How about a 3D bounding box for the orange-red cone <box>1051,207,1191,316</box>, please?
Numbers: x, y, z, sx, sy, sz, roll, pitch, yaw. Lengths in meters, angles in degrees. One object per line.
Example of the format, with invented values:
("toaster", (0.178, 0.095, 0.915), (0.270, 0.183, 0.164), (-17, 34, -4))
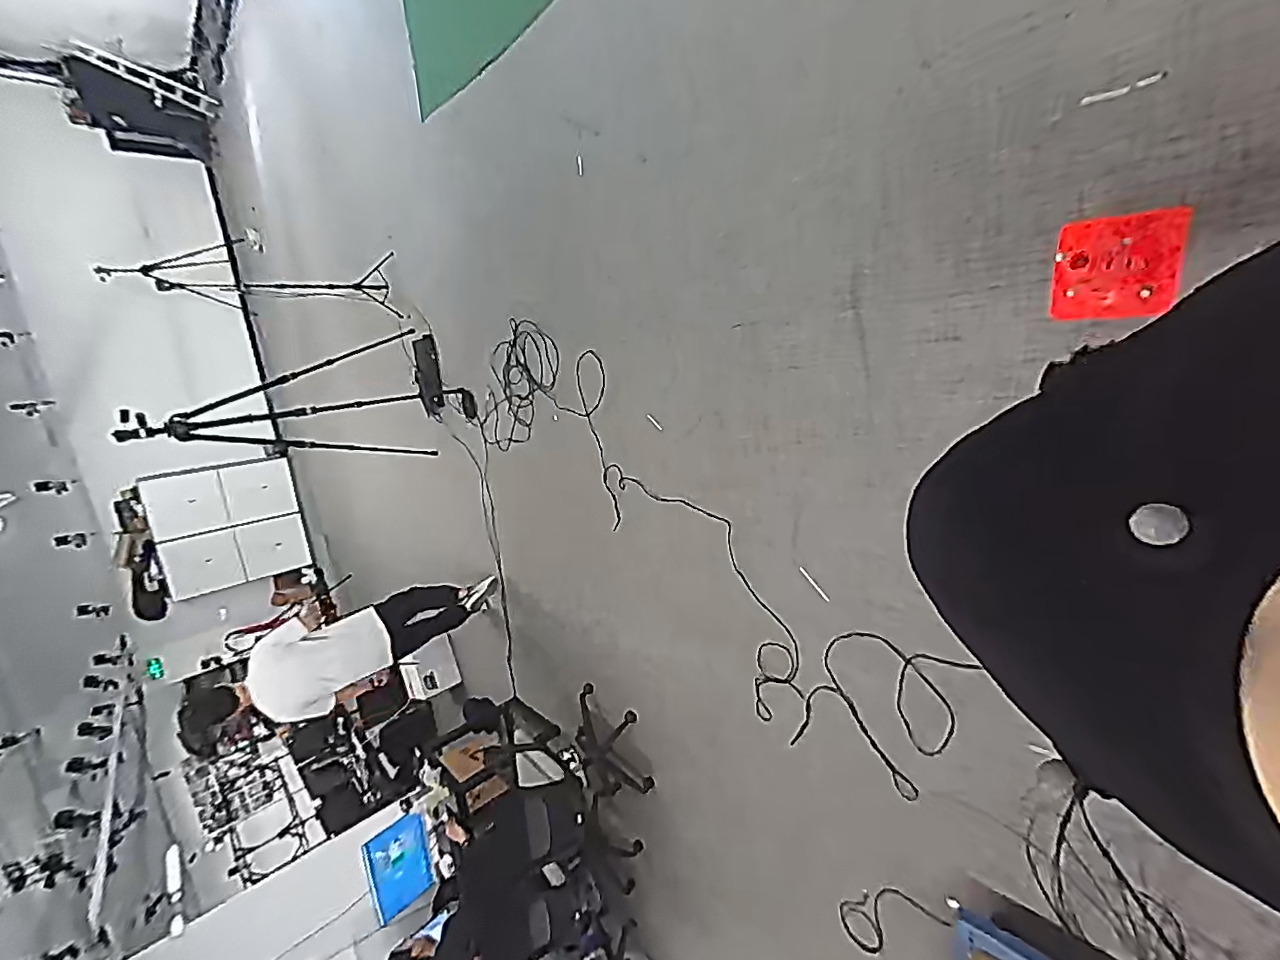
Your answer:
("orange-red cone", (0.848, -0.403, 0.991), (0.198, 0.360, 0.199), (14, 112, 45))
